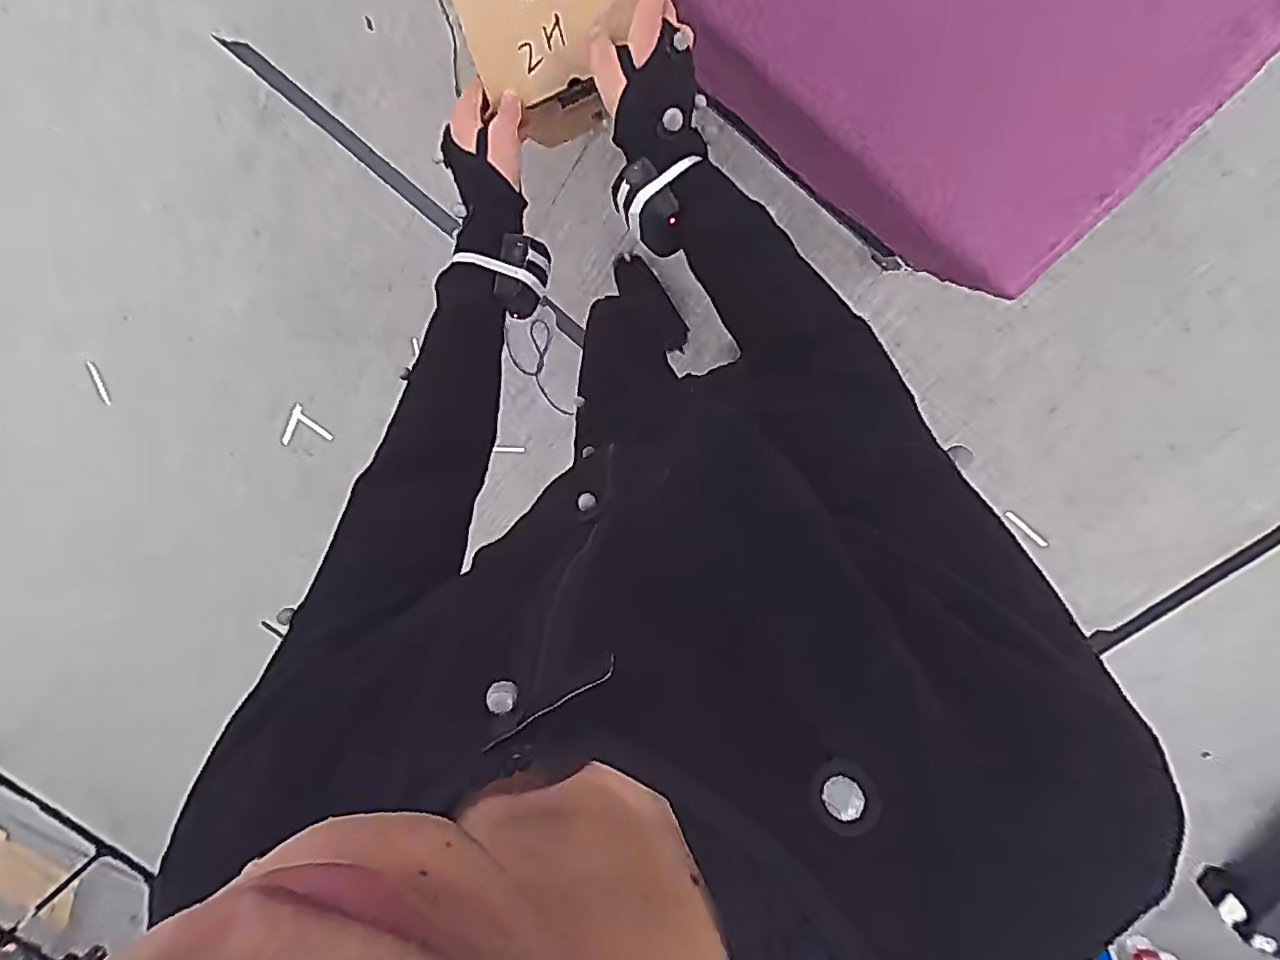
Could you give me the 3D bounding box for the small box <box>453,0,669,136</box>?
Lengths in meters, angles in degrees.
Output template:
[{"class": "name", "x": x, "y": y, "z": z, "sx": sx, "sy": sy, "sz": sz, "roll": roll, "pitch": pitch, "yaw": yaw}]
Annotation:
[{"class": "small box", "x": -0.076, "y": -0.472, "z": 0.529, "sx": 0.168, "sy": 0.176, "sz": 0.179, "roll": -13, "pitch": 111, "yaw": 15}]
